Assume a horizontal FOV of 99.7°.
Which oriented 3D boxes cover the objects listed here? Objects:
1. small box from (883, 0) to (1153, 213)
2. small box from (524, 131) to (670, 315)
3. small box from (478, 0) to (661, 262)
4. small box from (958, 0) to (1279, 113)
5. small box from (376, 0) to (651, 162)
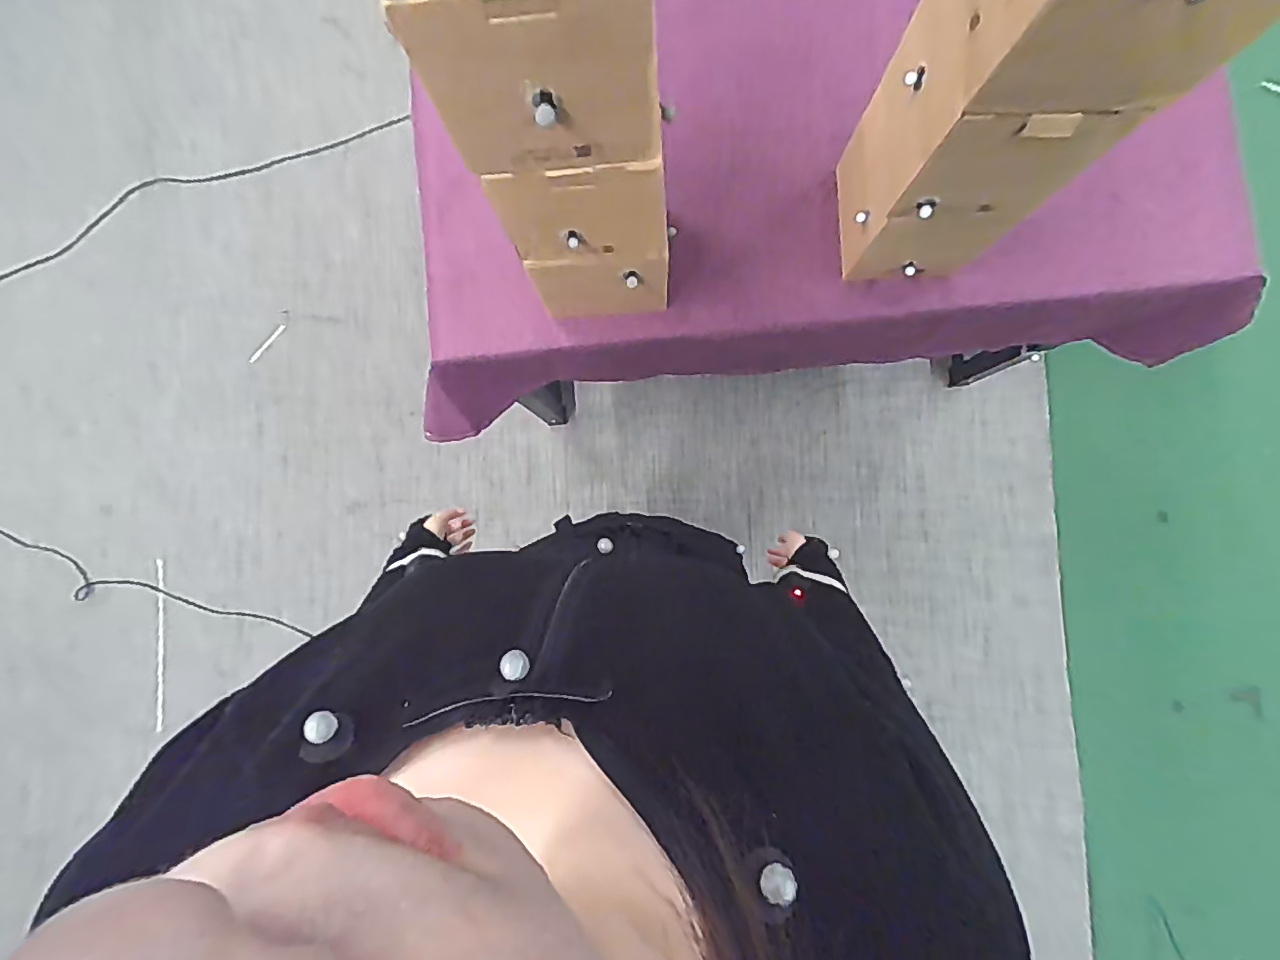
[{"bbox_3d":[0.360,-0.392,0.546,0.168,0.176,0.179,0,86,3],"label":"small box"},{"bbox_3d":[-0.052,-0.334,0.729,0.179,0.176,0.168,-3,86,3],"label":"small box"},{"bbox_3d":[-0.063,-0.354,0.567,0.168,0.176,0.179,-2,87,2],"label":"small box"},{"bbox_3d":[0.354,-0.395,0.383,0.179,0.176,0.168,2,88,3],"label":"small box"},{"bbox_3d":[-0.079,-0.367,0.404,0.168,0.176,0.179,-4,87,2],"label":"small box"}]
